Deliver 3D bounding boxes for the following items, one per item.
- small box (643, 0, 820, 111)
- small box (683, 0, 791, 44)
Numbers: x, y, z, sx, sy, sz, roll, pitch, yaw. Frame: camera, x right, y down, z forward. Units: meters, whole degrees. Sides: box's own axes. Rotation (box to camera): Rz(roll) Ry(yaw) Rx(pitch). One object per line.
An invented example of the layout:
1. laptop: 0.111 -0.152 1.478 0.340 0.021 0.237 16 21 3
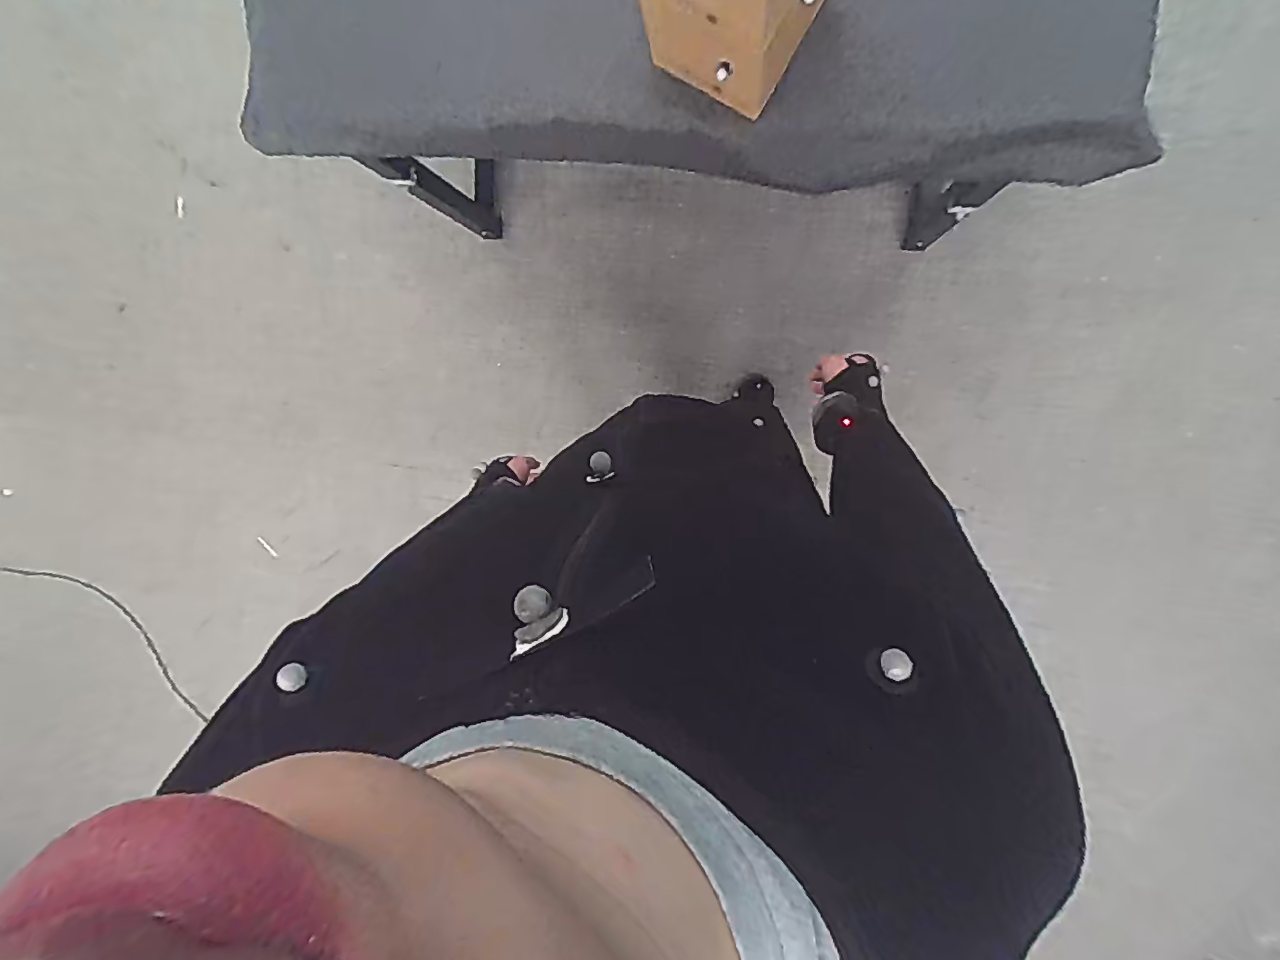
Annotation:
1. small box: 0.117 -0.586 0.634 0.168 0.176 0.179 31 102 2
2. small box: 0.090 -0.548 0.476 0.168 0.176 0.179 32 104 2
